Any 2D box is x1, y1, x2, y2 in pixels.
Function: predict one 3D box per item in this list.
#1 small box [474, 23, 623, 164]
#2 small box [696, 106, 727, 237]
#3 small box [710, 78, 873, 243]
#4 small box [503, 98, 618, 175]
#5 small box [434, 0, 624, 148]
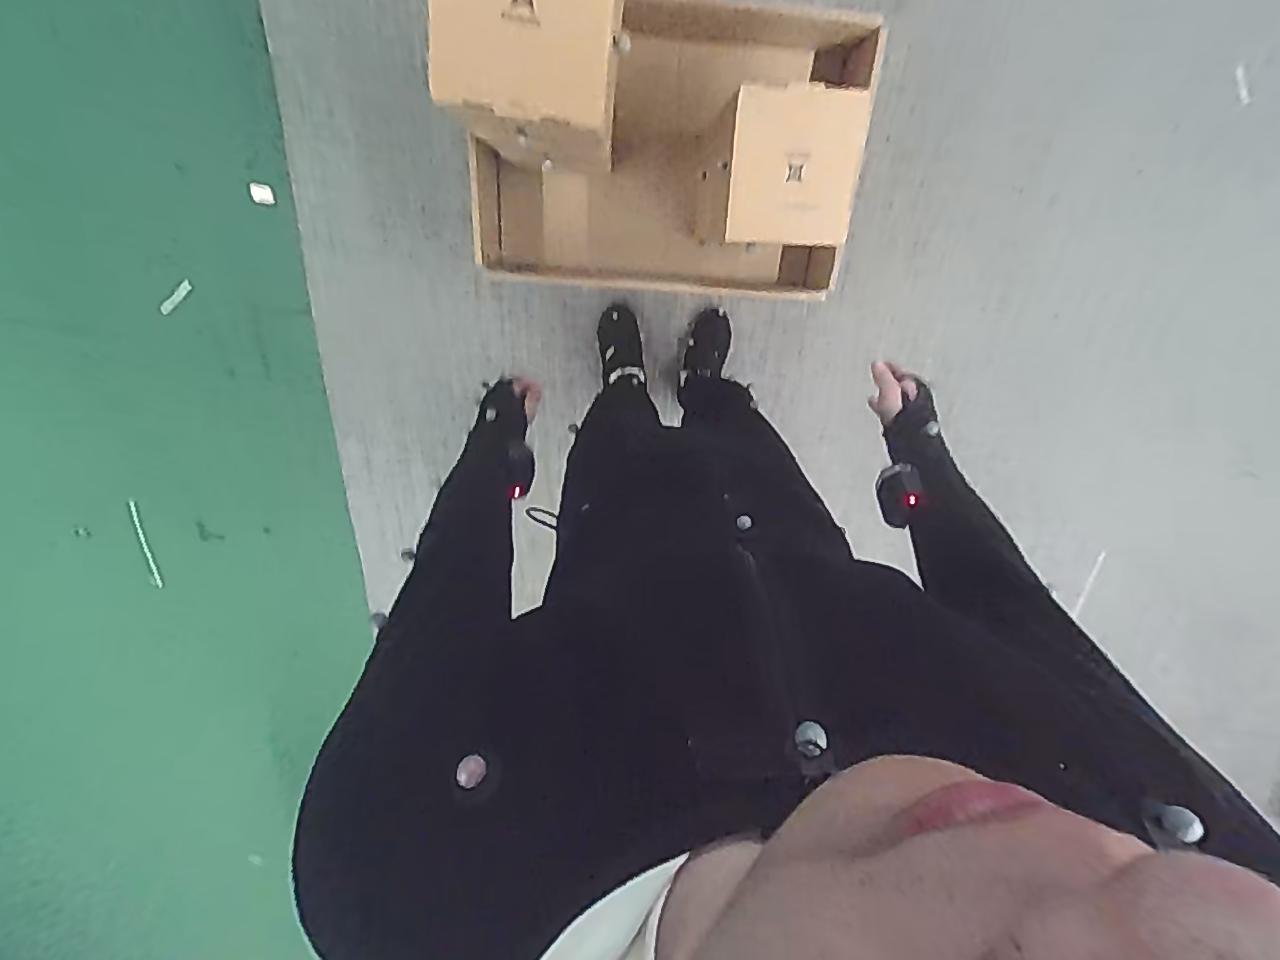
[{"bbox_3d":[-0.113,-0.531,0.703,0.168,0.176,0.179,6,114,-4],"label":"small box"},{"bbox_3d":[0.190,-0.500,0.907,0.168,0.176,0.179,2,113,-4],"label":"small box"},{"bbox_3d":[0.196,-0.432,0.759,0.168,0.176,0.179,2,114,-3],"label":"small box"},{"bbox_3d":[-0.120,-0.598,0.853,0.168,0.176,0.179,4,114,-4],"label":"small box"},{"bbox_3d":[-0.104,-0.465,0.556,0.168,0.176,0.179,7,114,-5],"label":"small box"}]
